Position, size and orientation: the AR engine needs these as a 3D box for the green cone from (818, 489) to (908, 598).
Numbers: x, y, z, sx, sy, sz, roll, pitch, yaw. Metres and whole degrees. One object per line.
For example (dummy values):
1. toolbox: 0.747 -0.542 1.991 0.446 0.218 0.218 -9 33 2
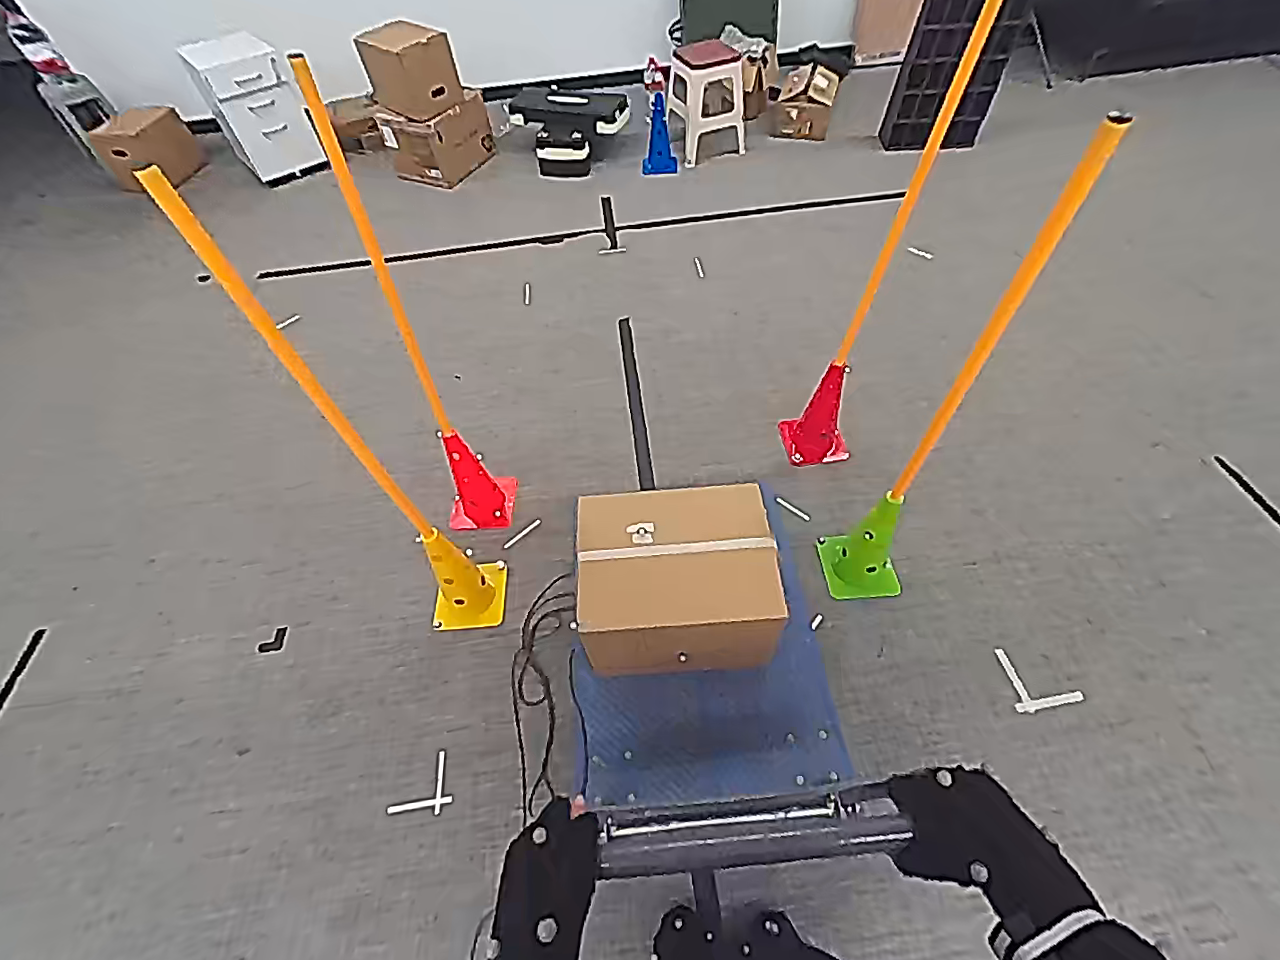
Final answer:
1. green cone: 0.630 0.146 1.444 0.202 0.368 0.200 -4 53 0

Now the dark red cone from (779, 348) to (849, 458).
1. dark red cone: 0.589 -0.251 1.720 0.201 0.394 0.202 -7 54 -3

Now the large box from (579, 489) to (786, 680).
1. large box: 0.084 0.249 1.235 0.408 0.320 0.320 -5 54 2

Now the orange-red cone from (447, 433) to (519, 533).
1. orange-red cone: -0.519 -0.013 1.658 0.198 0.360 0.199 -1 52 2
